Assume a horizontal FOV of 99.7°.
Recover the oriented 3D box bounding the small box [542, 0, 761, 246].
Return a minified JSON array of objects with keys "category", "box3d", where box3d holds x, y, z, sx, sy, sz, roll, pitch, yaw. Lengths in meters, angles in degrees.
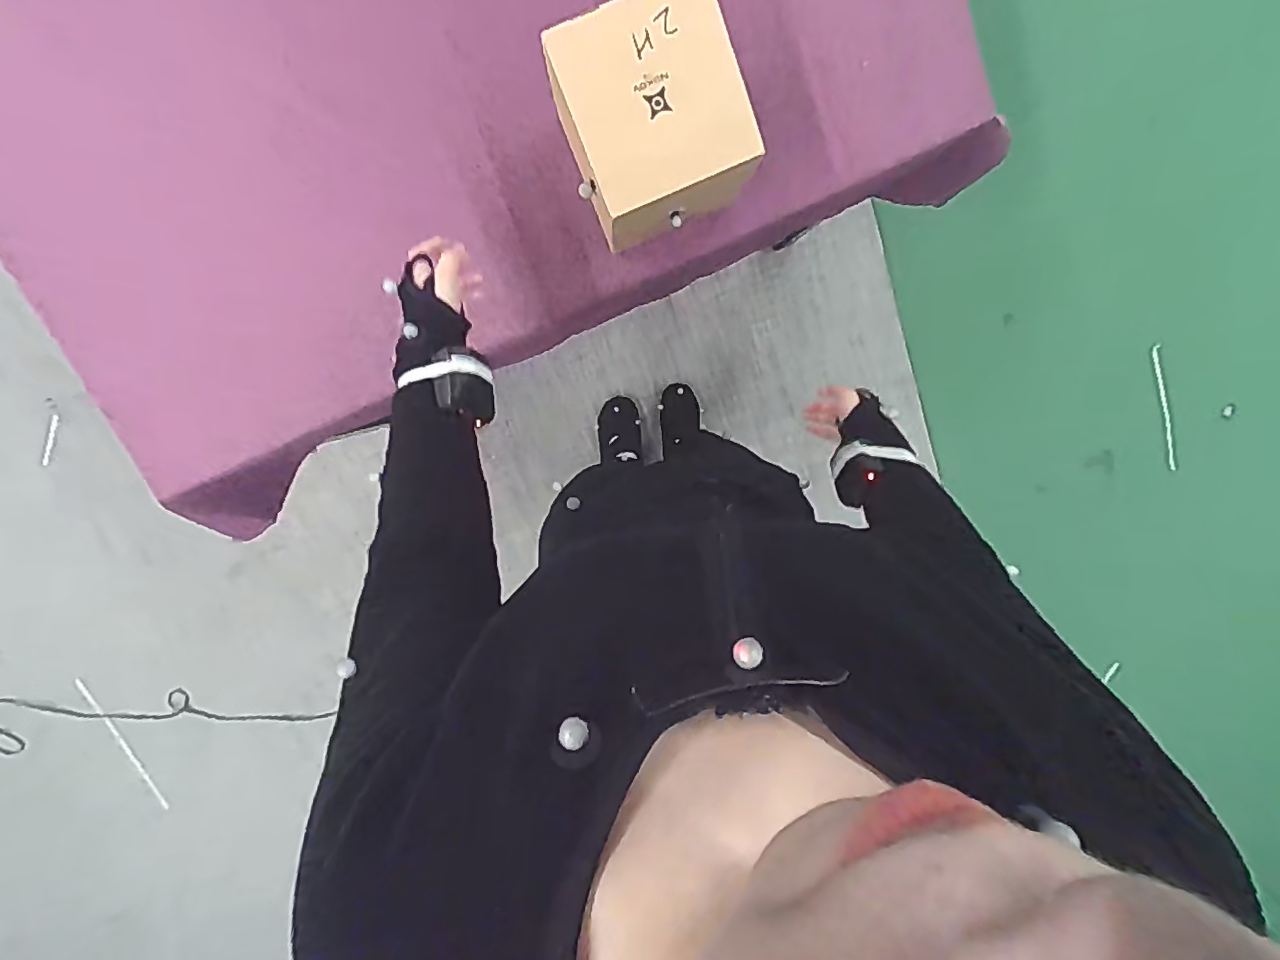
[{"category":"small box","box3d":[0.011,-0.378,0.594,0.168,0.176,0.179,-23,102,2]}]
